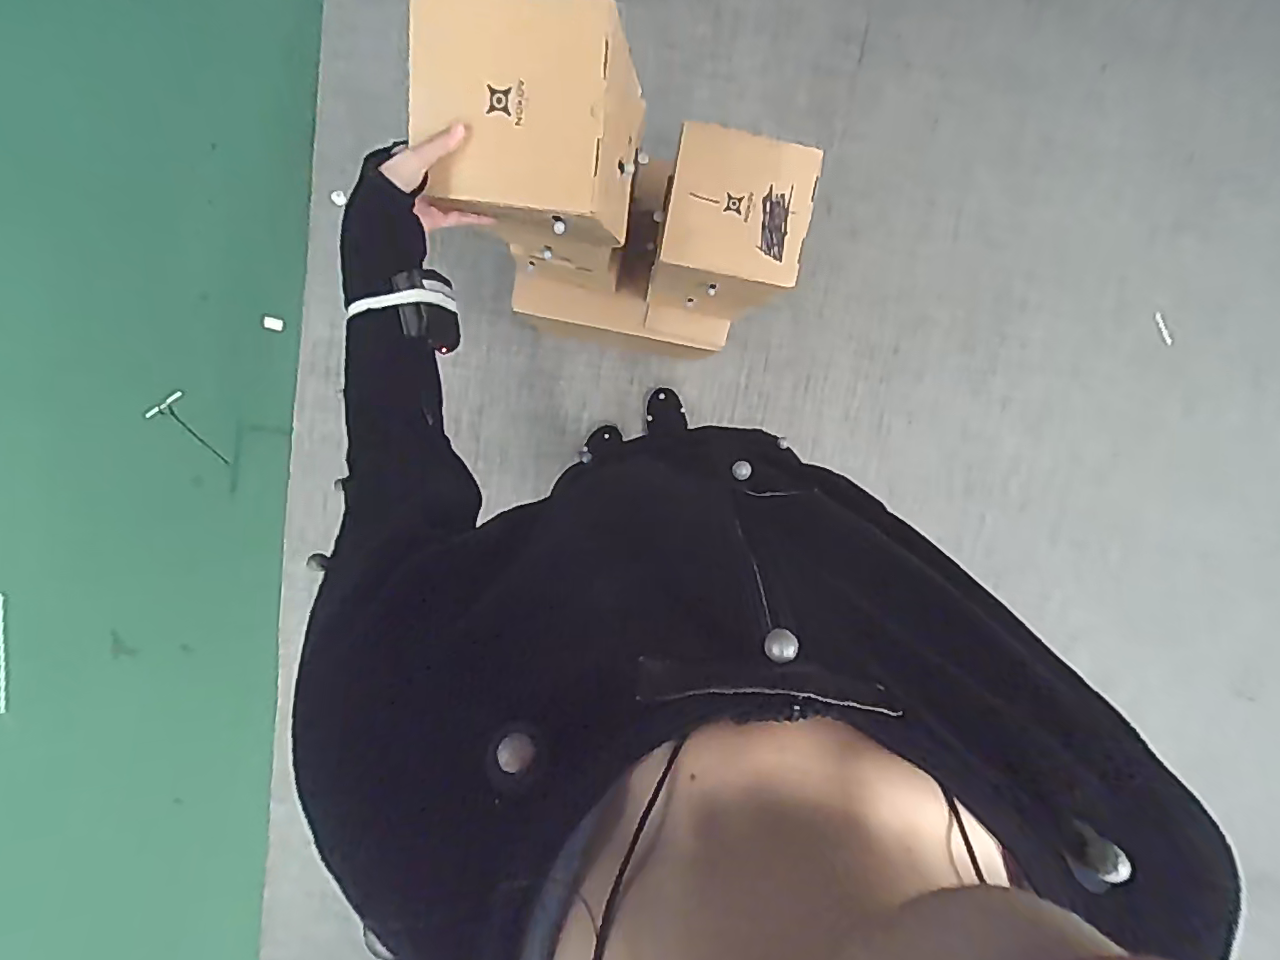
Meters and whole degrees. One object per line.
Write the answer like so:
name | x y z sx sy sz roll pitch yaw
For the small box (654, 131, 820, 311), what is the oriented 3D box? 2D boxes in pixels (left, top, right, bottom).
small box | 0.120 -0.340 0.746 0.179 0.176 0.168 11 98 -1

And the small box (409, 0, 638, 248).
small box | -0.107 -0.340 0.547 0.179 0.176 0.168 8 105 7
